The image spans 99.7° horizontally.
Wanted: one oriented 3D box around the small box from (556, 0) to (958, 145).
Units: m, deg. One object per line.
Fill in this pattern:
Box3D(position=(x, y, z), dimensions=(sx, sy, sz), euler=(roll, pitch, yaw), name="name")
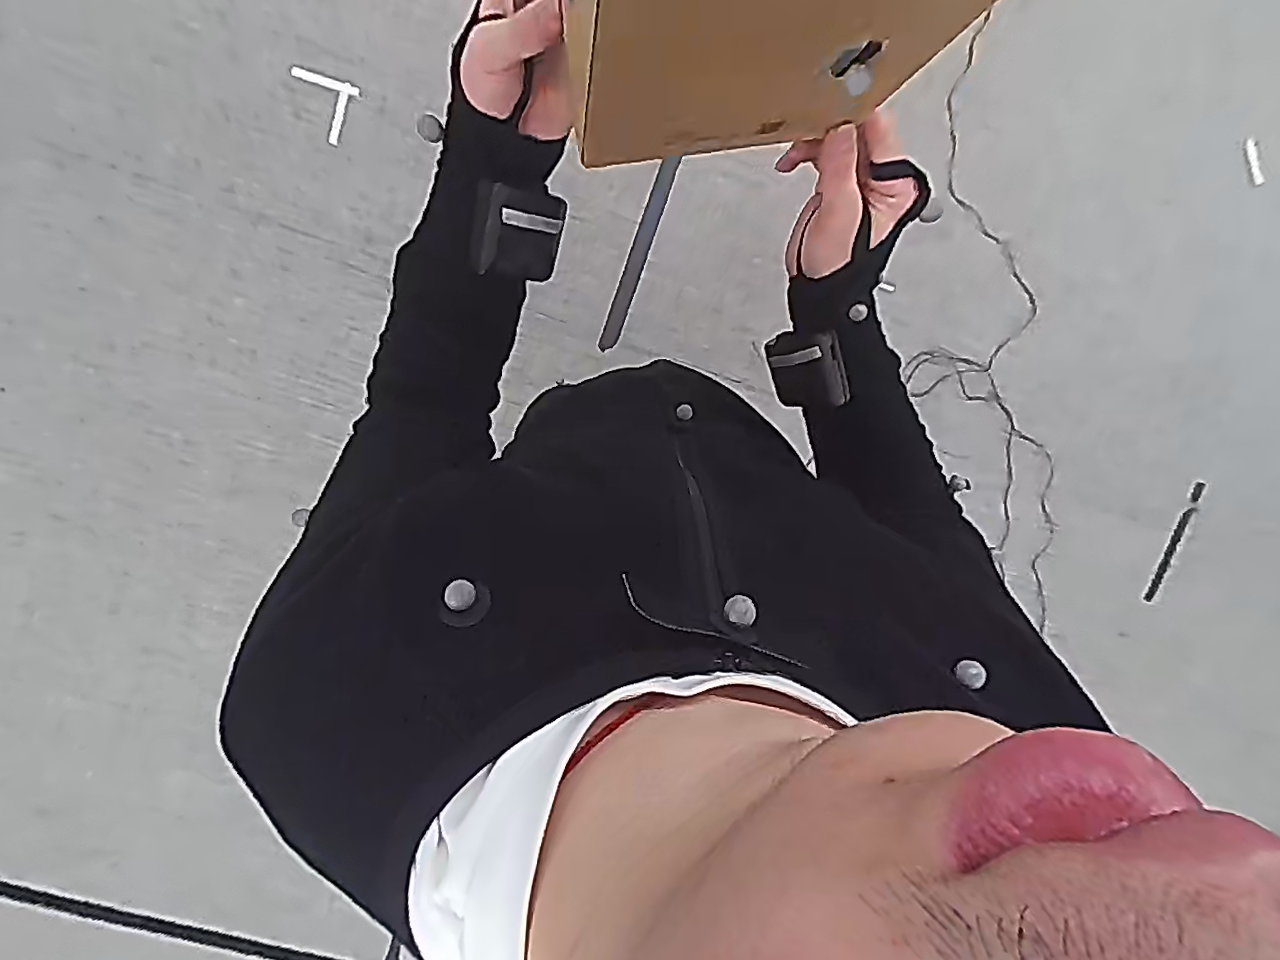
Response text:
Box3D(position=(0.047, -0.270, 0.231), dimensions=(0.168, 0.176, 0.179), euler=(-12, 100, -8), name="small box")
